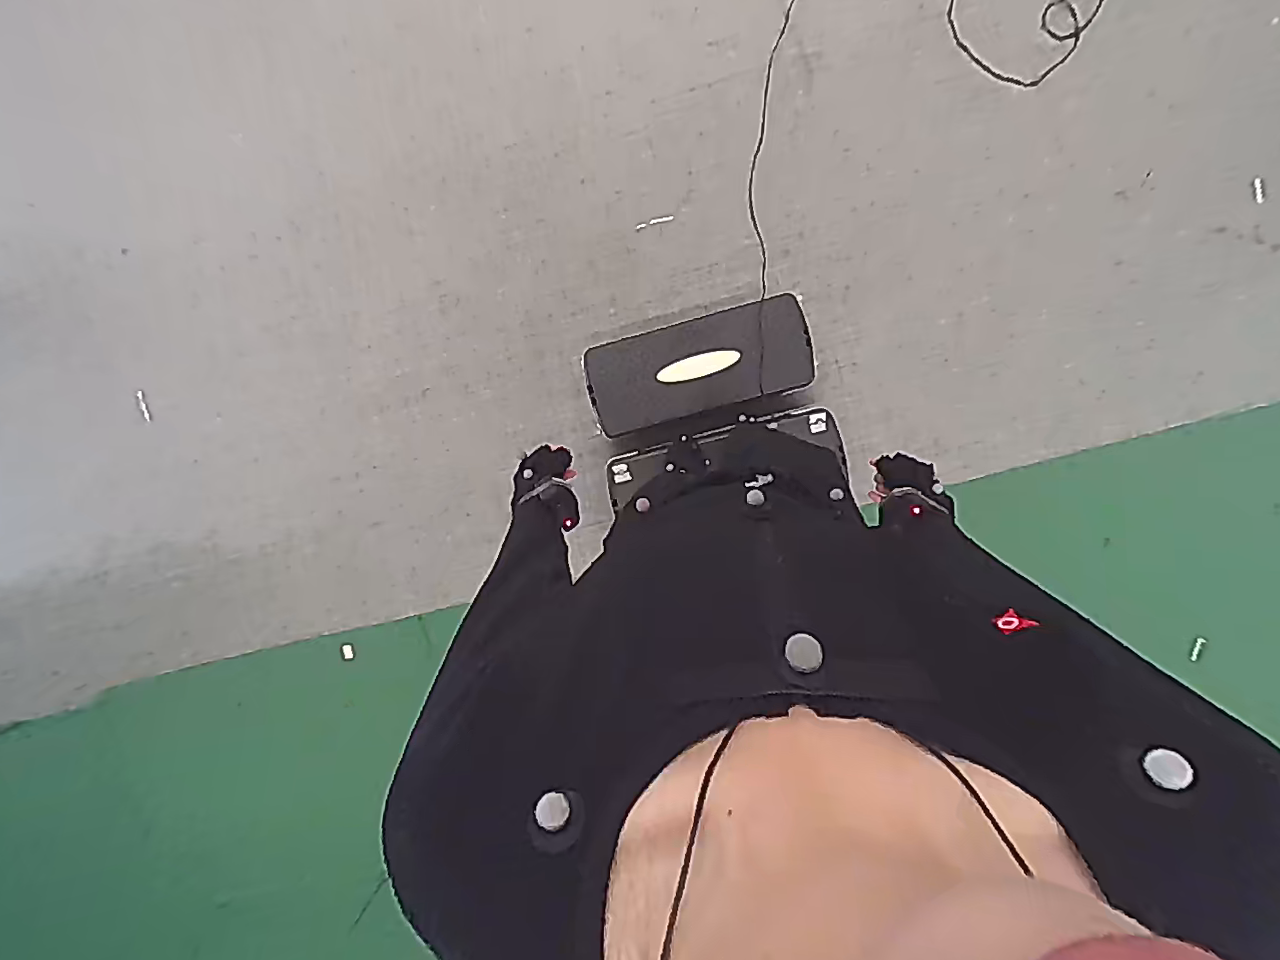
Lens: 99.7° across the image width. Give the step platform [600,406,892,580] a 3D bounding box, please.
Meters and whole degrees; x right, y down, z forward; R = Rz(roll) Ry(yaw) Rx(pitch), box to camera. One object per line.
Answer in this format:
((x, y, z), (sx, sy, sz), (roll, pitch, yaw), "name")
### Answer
((0.252, 0.030, 1.379), (0.684, 0.204, 0.286), (-15, 94, 3), "step platform")
